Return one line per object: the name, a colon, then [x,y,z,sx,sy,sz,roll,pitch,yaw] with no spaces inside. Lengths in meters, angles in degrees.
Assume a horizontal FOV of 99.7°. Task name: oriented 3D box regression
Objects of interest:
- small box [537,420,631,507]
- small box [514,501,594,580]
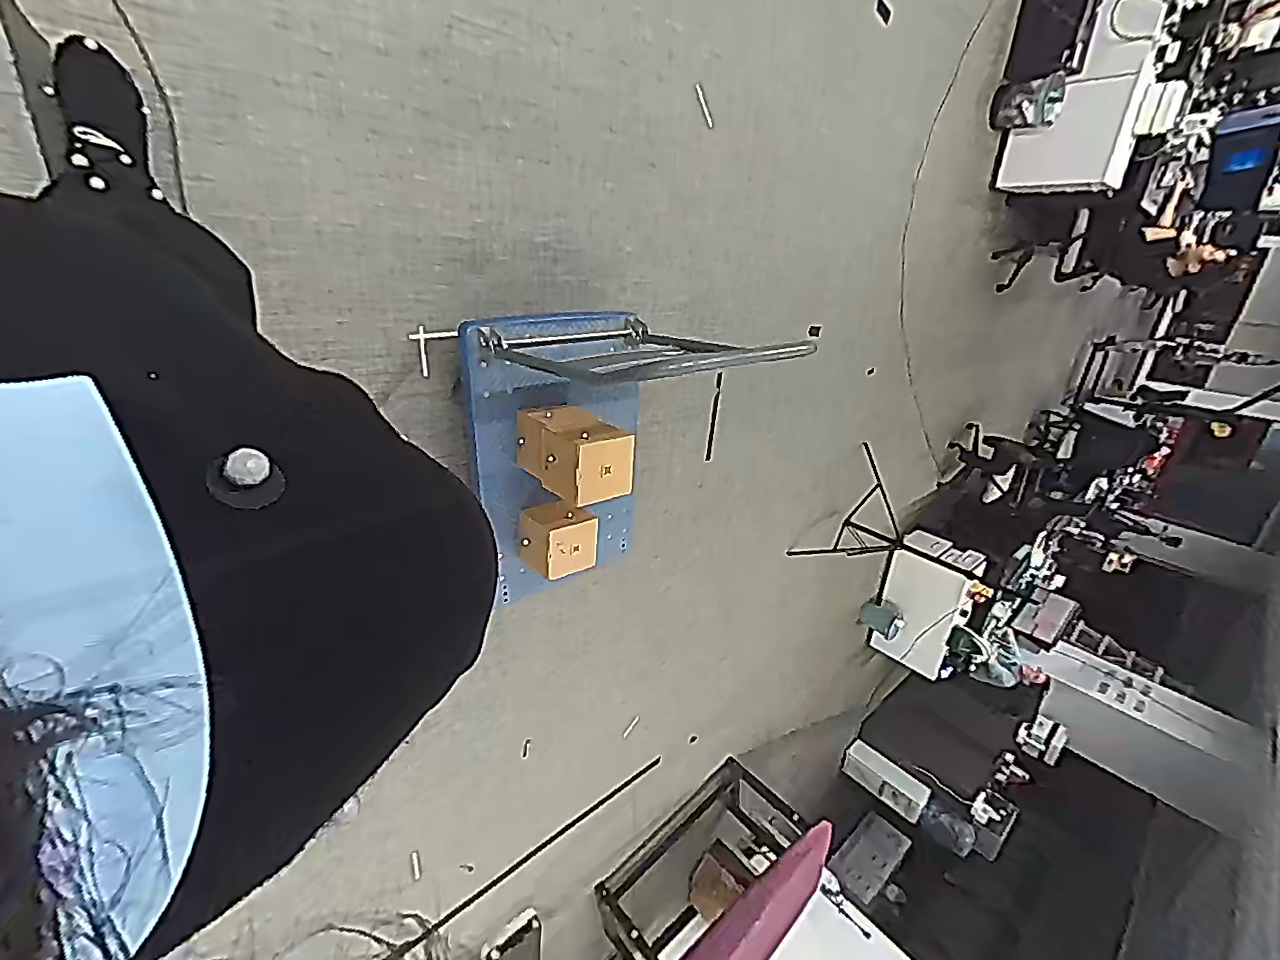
small box: [-0.148,-0.051,1.410,0.179,0.176,0.168,-14,119,-38]
small box: [-0.264,0.177,1.647,0.179,0.176,0.168,-13,117,-41]
